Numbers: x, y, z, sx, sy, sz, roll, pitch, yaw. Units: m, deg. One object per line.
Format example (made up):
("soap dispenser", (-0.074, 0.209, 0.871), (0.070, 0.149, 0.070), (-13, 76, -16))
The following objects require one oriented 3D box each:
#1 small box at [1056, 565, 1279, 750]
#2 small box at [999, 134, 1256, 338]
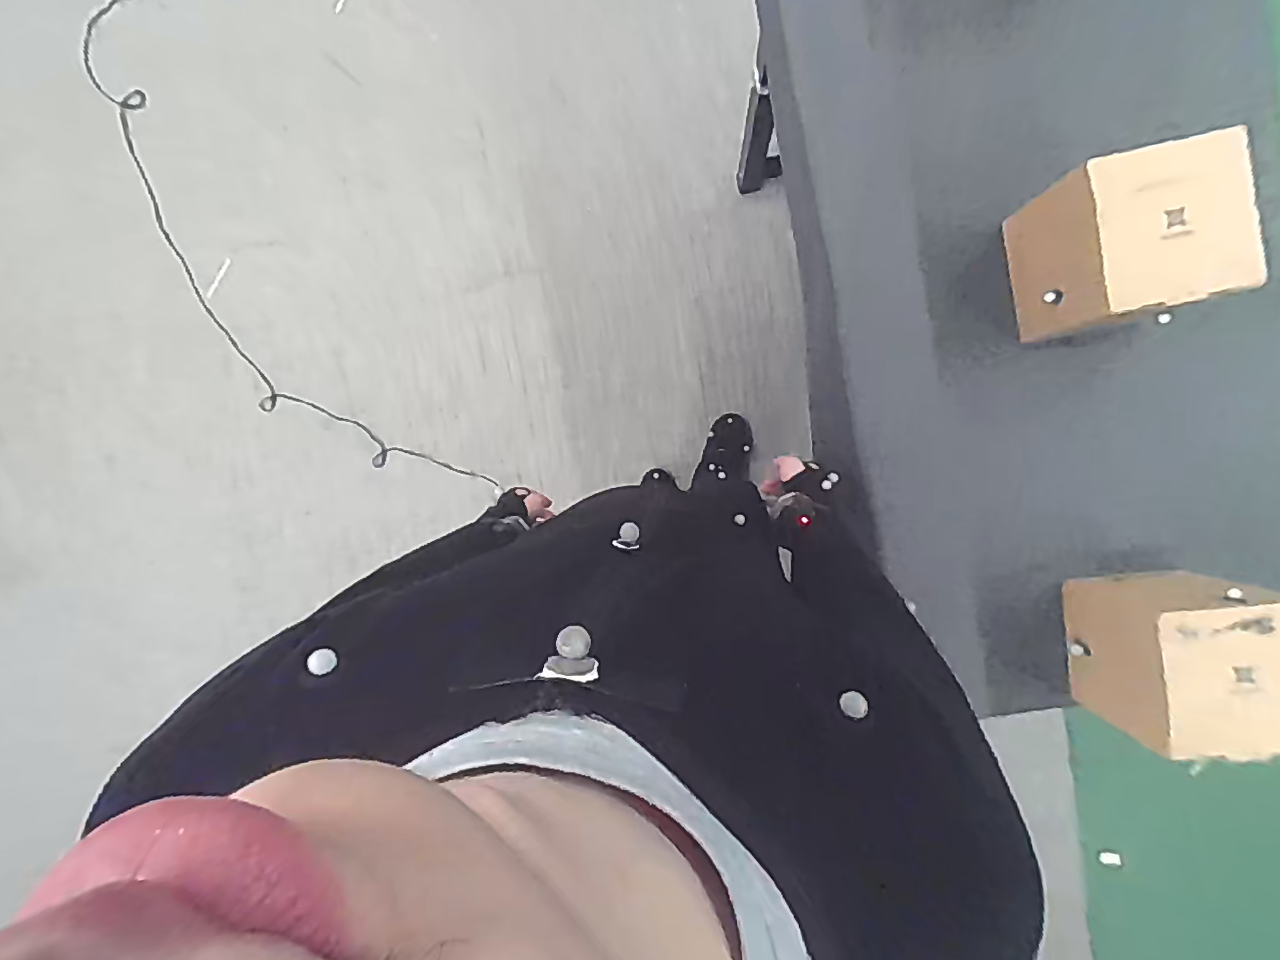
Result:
("small box", (0.687, 0.222, 0.708), (0.168, 0.176, 0.179), (-6, 93, 5))
("small box", (0.595, -0.287, 0.684), (0.168, 0.176, 0.179), (-11, 92, 4))
